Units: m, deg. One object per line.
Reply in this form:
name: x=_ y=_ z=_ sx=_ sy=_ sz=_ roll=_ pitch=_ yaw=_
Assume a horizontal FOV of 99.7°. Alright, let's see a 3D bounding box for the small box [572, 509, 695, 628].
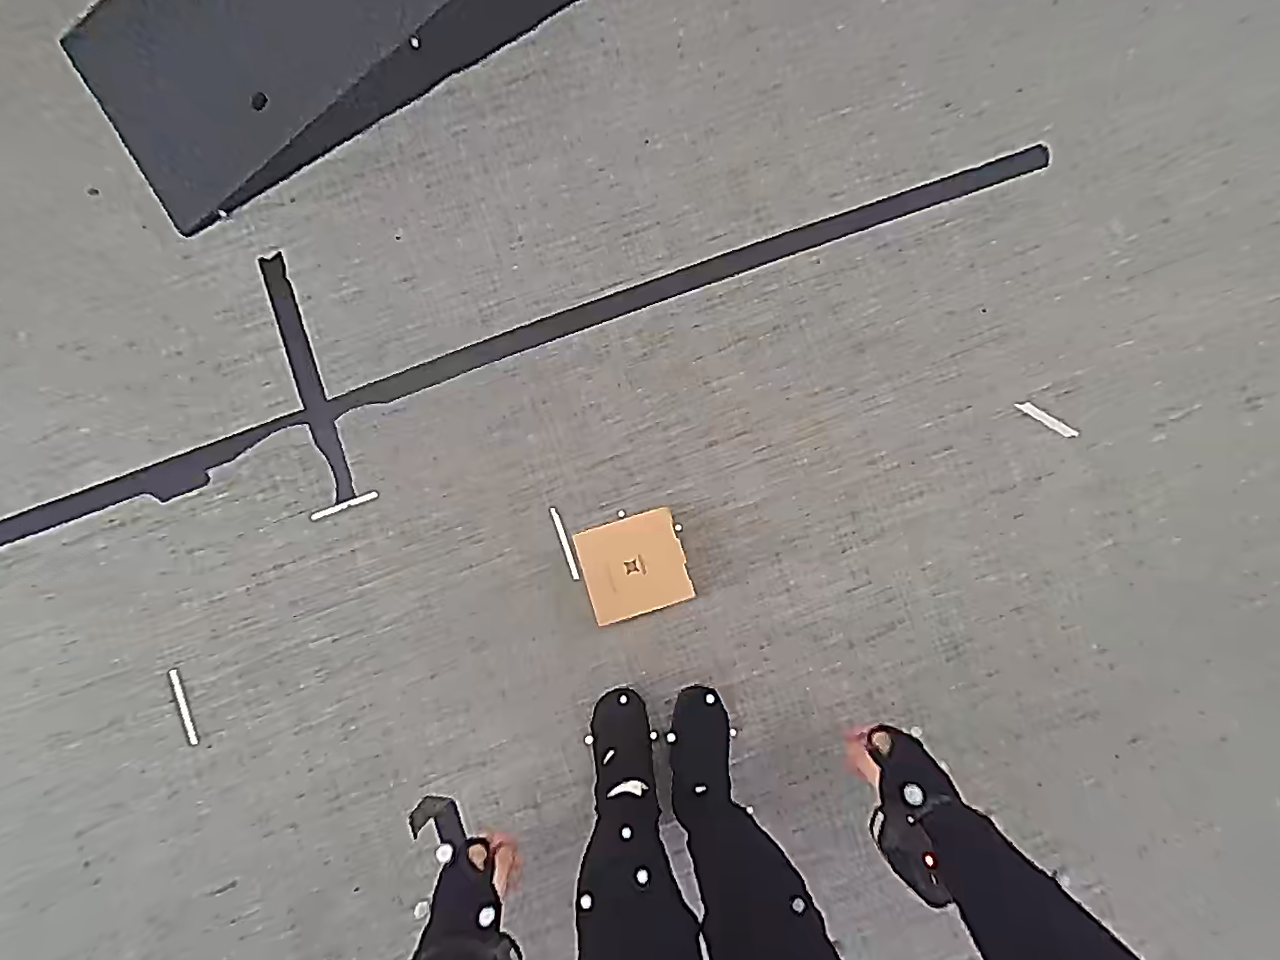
small box: x=-0.013 y=0.152 z=0.990 sx=0.179 sy=0.176 sz=0.168 roll=-17 pitch=87 yaw=-1
